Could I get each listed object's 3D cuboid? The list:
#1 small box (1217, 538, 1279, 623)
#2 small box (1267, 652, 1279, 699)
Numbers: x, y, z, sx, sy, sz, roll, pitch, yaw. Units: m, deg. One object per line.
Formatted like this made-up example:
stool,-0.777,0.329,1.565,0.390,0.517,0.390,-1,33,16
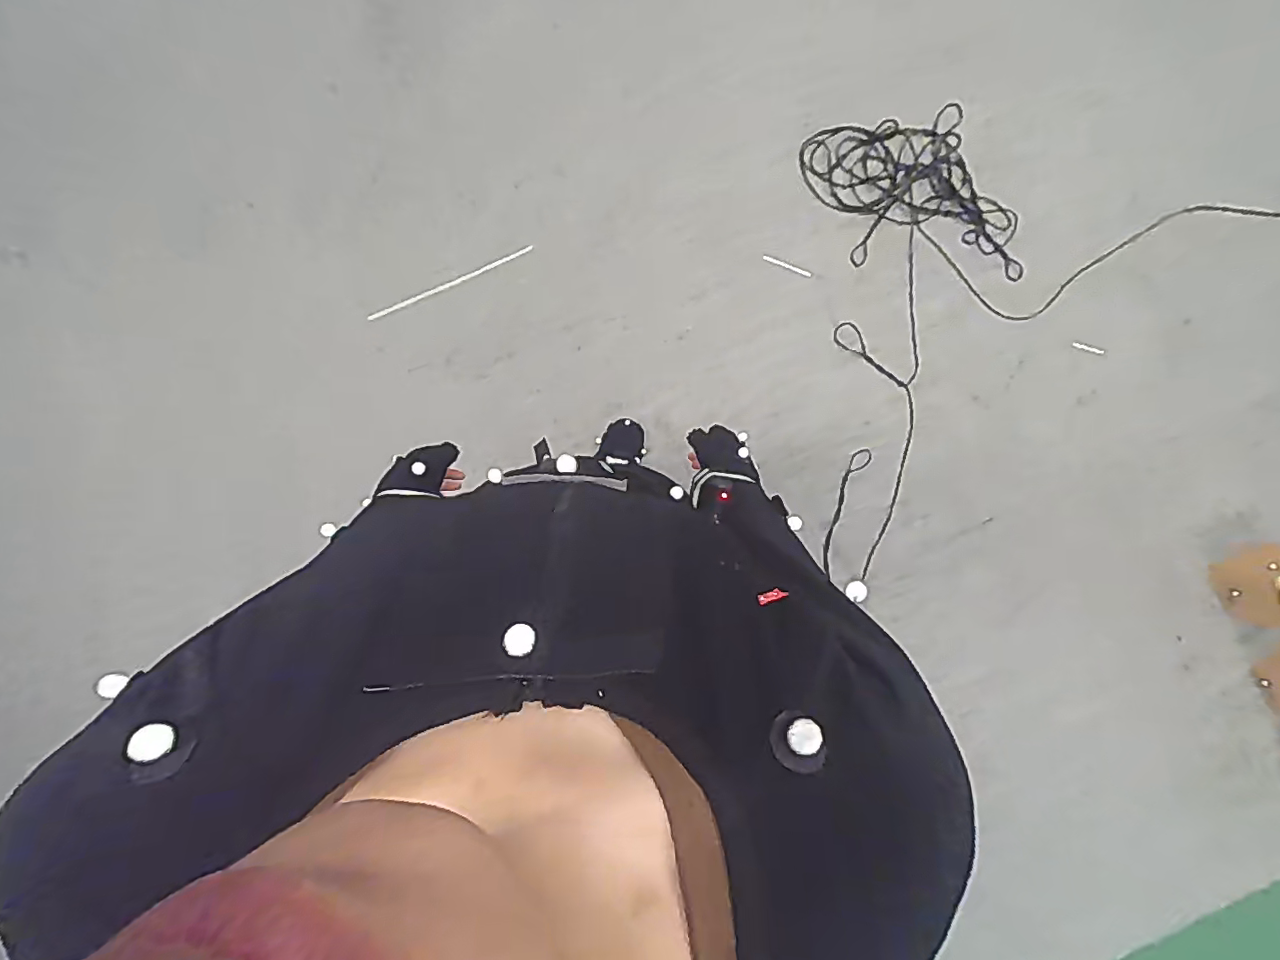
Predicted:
small box,1.742,0.270,1.456,0.179,0.176,0.168,-28,92,0
small box,1.883,0.555,1.468,0.179,0.176,0.168,-32,93,-1
